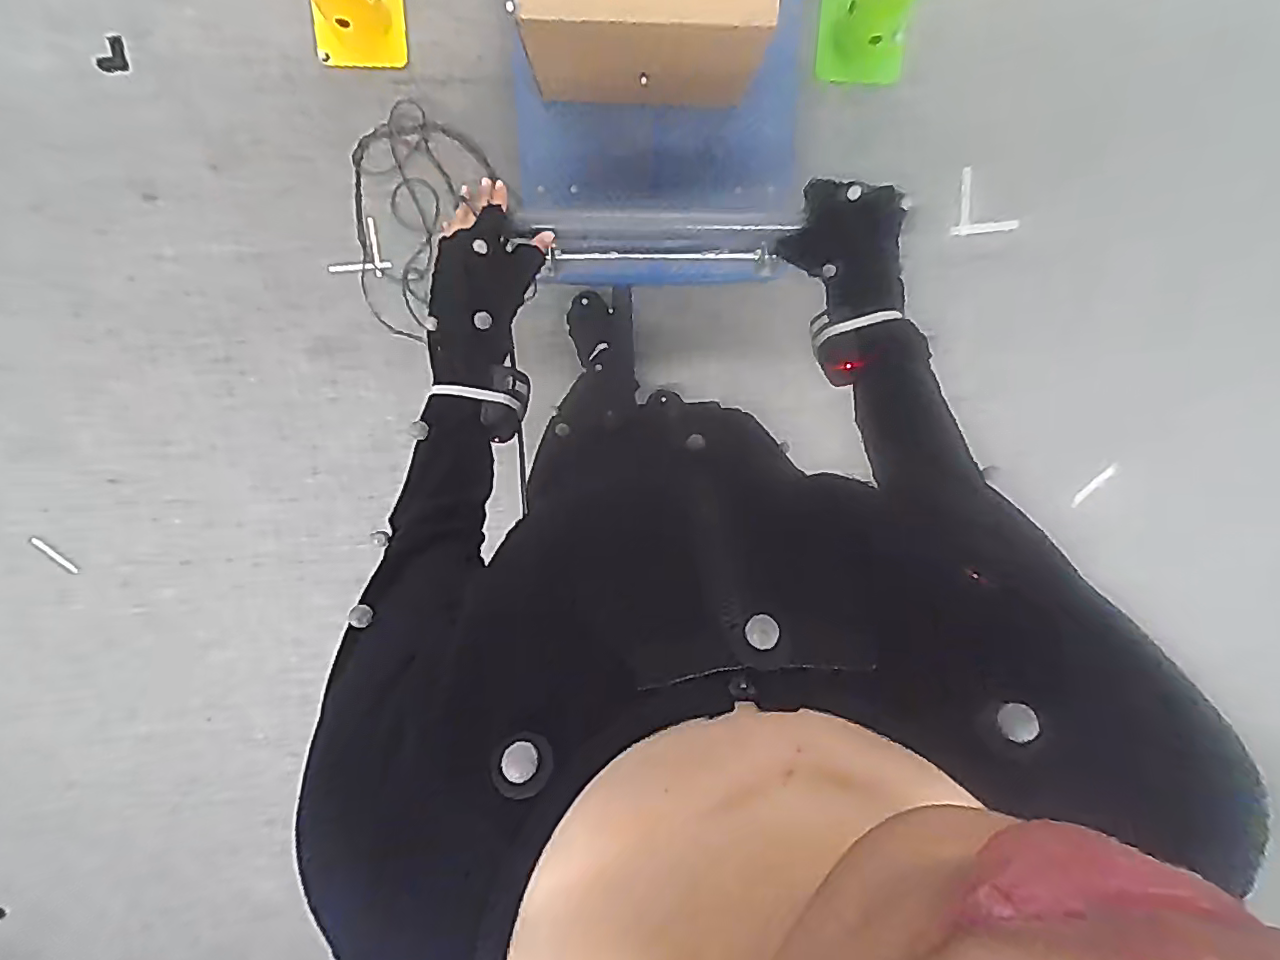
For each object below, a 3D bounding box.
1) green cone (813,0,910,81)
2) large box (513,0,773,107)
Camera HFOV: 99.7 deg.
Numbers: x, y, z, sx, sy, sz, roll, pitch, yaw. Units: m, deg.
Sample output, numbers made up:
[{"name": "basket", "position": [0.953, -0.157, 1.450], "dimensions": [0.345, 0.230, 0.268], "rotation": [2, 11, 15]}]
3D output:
[{"name": "green cone", "position": [0.509, -0.991, 1.073], "dimensions": [0.202, 0.368, 0.200], "rotation": [0, 104, -3]}, {"name": "large box", "position": [0.004, -0.879, 0.937], "dimensions": [0.408, 0.320, 0.320], "rotation": [0, 105, -1]}]
